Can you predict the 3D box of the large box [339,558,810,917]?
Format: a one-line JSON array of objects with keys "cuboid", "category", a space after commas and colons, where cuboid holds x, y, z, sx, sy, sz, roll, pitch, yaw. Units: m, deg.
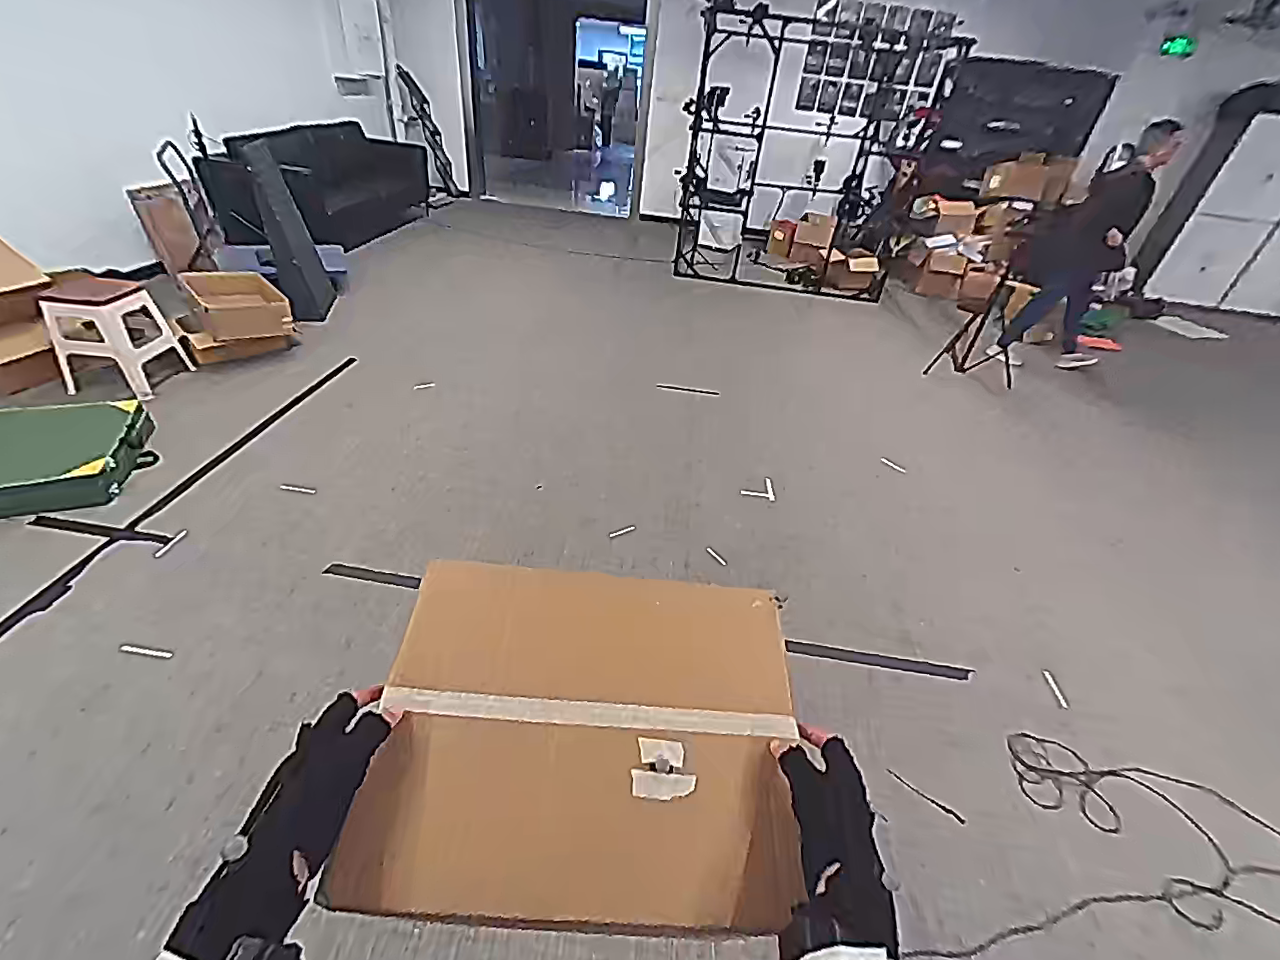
[{"cuboid": [-0.065, 0.321, 0.656, 0.408, 0.320, 0.320, 7, 49, -4], "category": "large box"}]
